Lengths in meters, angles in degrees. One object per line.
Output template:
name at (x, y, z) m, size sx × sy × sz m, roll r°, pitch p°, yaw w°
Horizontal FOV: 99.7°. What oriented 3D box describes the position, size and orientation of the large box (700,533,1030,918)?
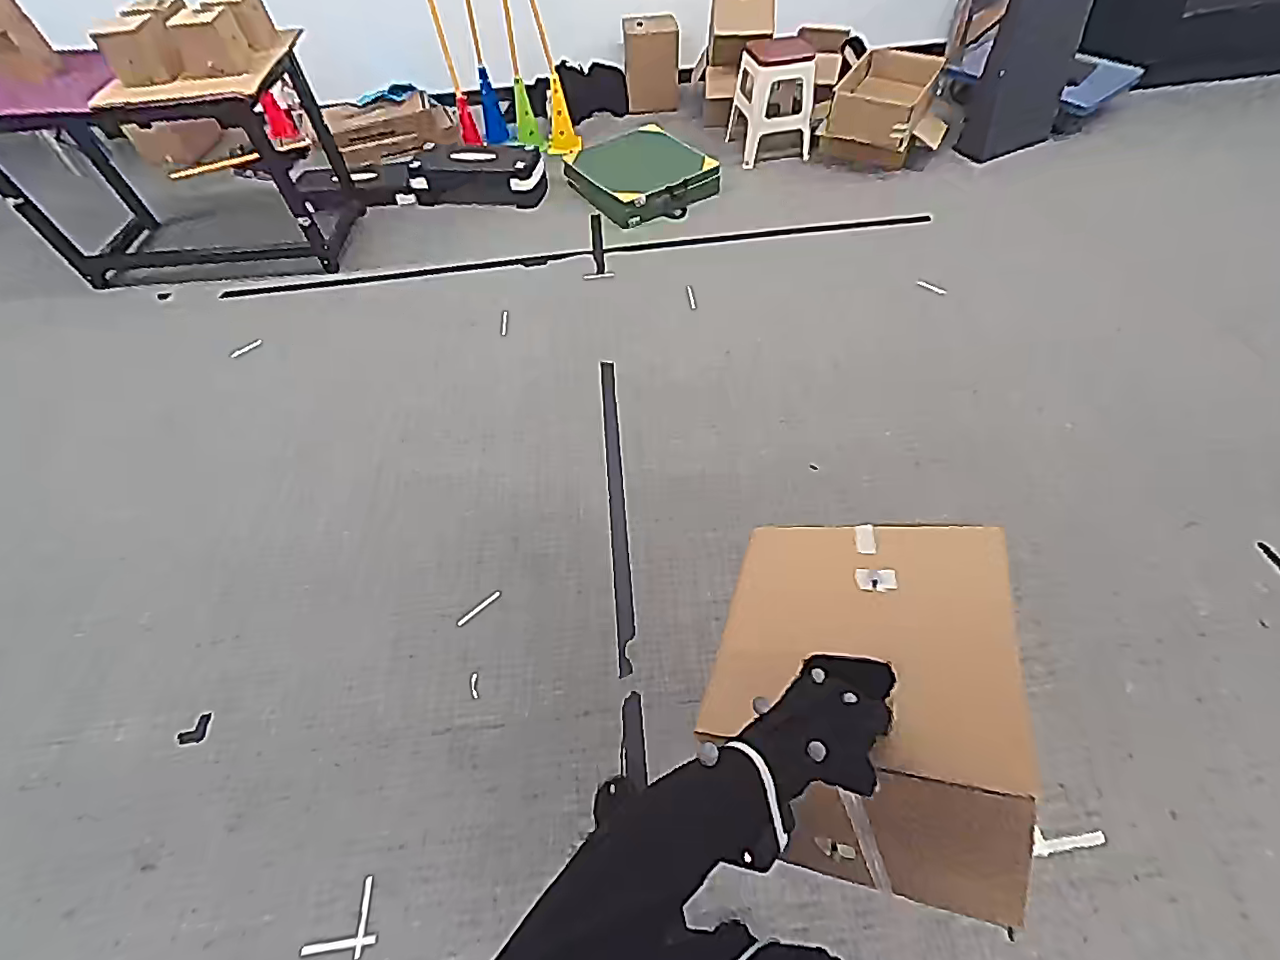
large box at (0.322, 0.317, 0.742) m, size 0.320 × 0.408 × 0.320 m, roll -4°, pitch 42°, yaw 31°
